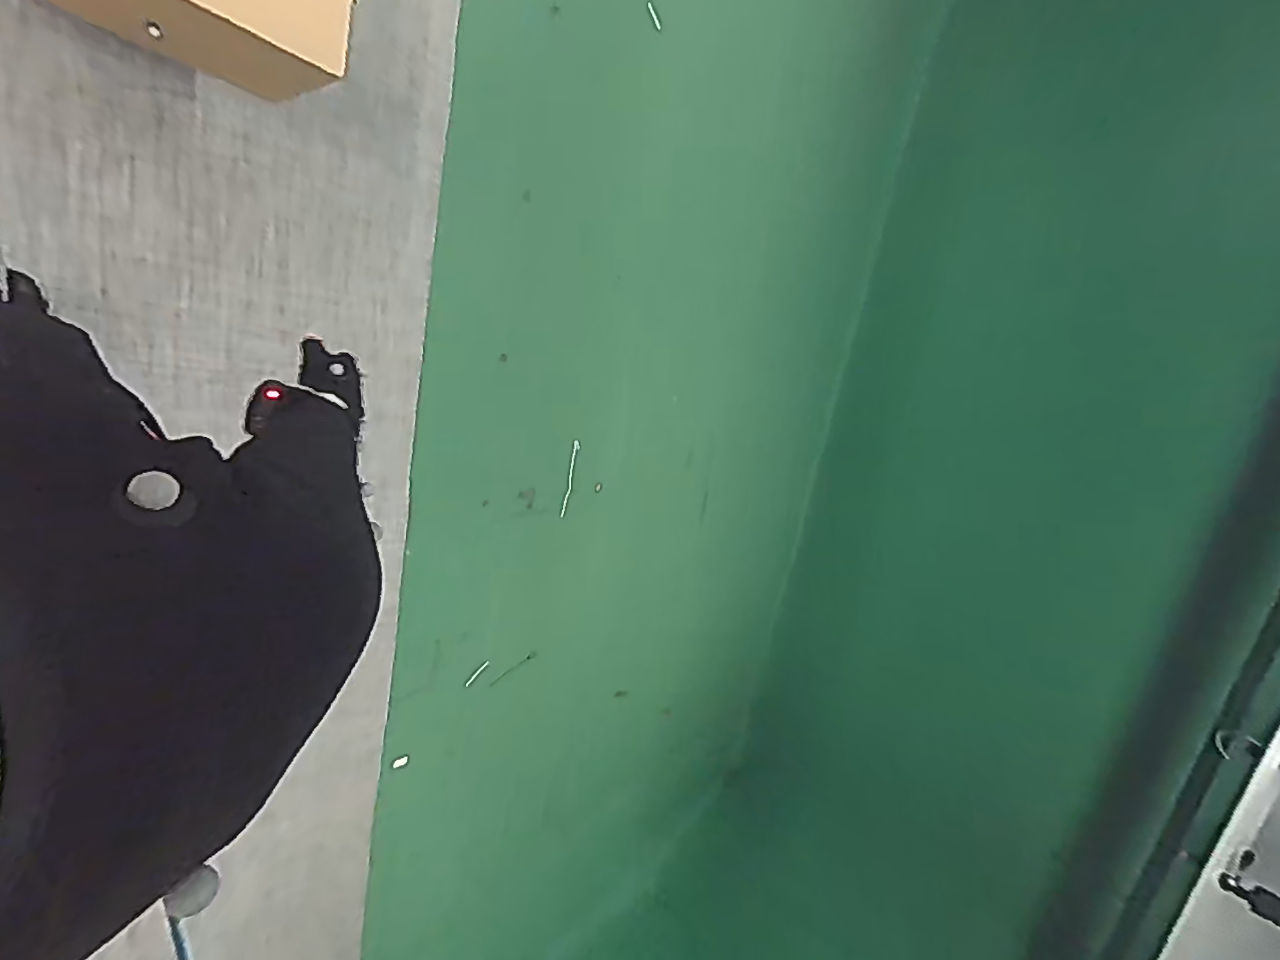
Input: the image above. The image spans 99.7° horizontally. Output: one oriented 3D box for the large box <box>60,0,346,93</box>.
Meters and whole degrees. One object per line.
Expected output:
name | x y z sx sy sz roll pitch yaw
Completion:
large box | -0.677 -0.825 0.763 0.408 0.320 0.320 -2 108 -50
